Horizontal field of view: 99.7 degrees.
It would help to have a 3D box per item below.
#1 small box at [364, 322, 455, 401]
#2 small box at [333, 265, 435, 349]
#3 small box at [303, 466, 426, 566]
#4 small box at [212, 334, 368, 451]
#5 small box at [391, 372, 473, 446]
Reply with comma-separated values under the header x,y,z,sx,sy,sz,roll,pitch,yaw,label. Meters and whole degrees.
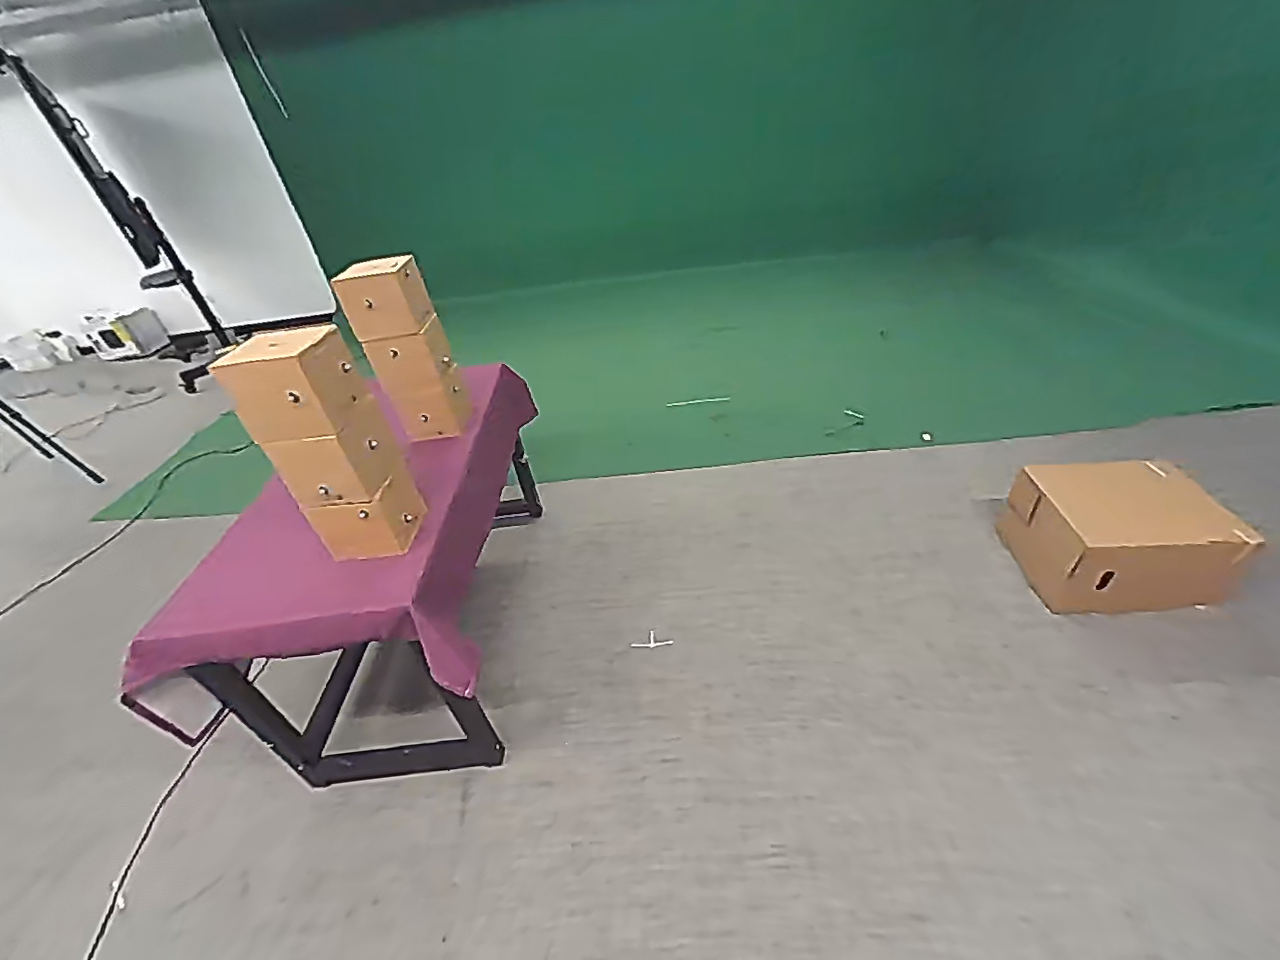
x,y,z,sx,sy,sz,roll,pitch,yaw,label
-0.676,-0.349,1.607,0.179,0.176,0.168,-8,36,2,small box
-0.707,-0.482,1.514,0.179,0.176,0.168,-9,37,3,small box
-0.639,0.088,1.280,0.179,0.176,0.168,-7,35,4,small box
-0.690,-0.176,1.093,0.179,0.176,0.168,-7,35,5,small box
-0.645,-0.219,1.702,0.168,0.176,0.179,-6,36,4,small box
